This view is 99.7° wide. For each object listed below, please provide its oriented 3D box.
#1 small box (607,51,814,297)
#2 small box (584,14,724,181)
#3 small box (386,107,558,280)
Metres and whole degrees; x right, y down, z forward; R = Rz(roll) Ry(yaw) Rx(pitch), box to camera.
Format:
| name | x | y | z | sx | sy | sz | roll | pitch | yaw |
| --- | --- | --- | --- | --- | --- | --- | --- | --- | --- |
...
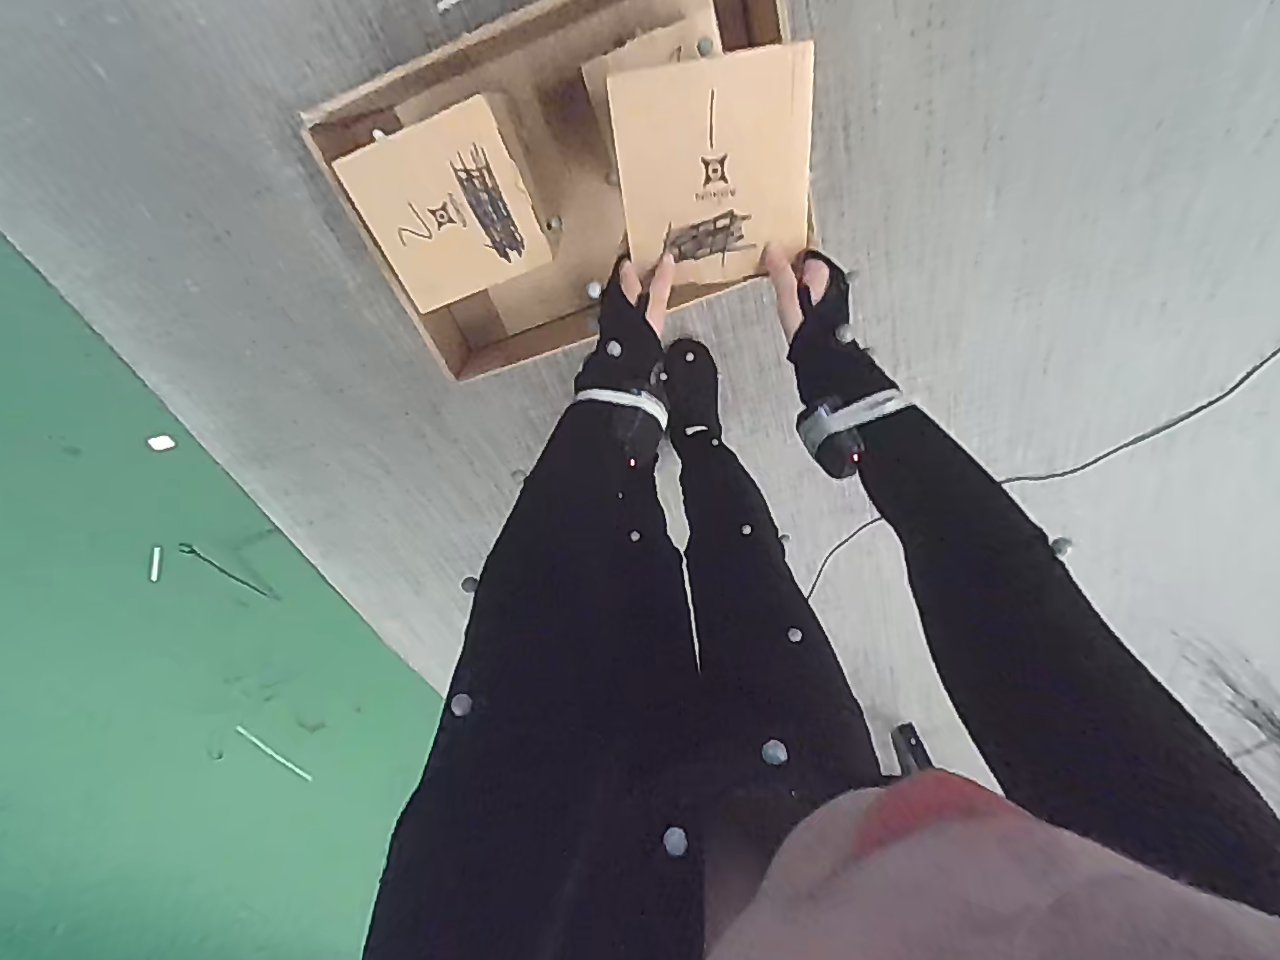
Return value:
| name | x | y | z | sx | sy | sz | roll | pitch | yaw |
| --- | --- | --- | --- | --- | --- | --- | --- | --- | --- |
| small box | 0.068 | -0.303 | 0.537 | 0.168 | 0.176 | 0.179 | -5 | 126 | 6 |
| small box | 0.033 | -0.498 | 0.746 | 0.168 | 0.176 | 0.179 | -17 | 124 | 9 |
| small box | -0.226 | -0.420 | 0.787 | 0.168 | 0.176 | 0.179 | -15 | 124 | 6 |
